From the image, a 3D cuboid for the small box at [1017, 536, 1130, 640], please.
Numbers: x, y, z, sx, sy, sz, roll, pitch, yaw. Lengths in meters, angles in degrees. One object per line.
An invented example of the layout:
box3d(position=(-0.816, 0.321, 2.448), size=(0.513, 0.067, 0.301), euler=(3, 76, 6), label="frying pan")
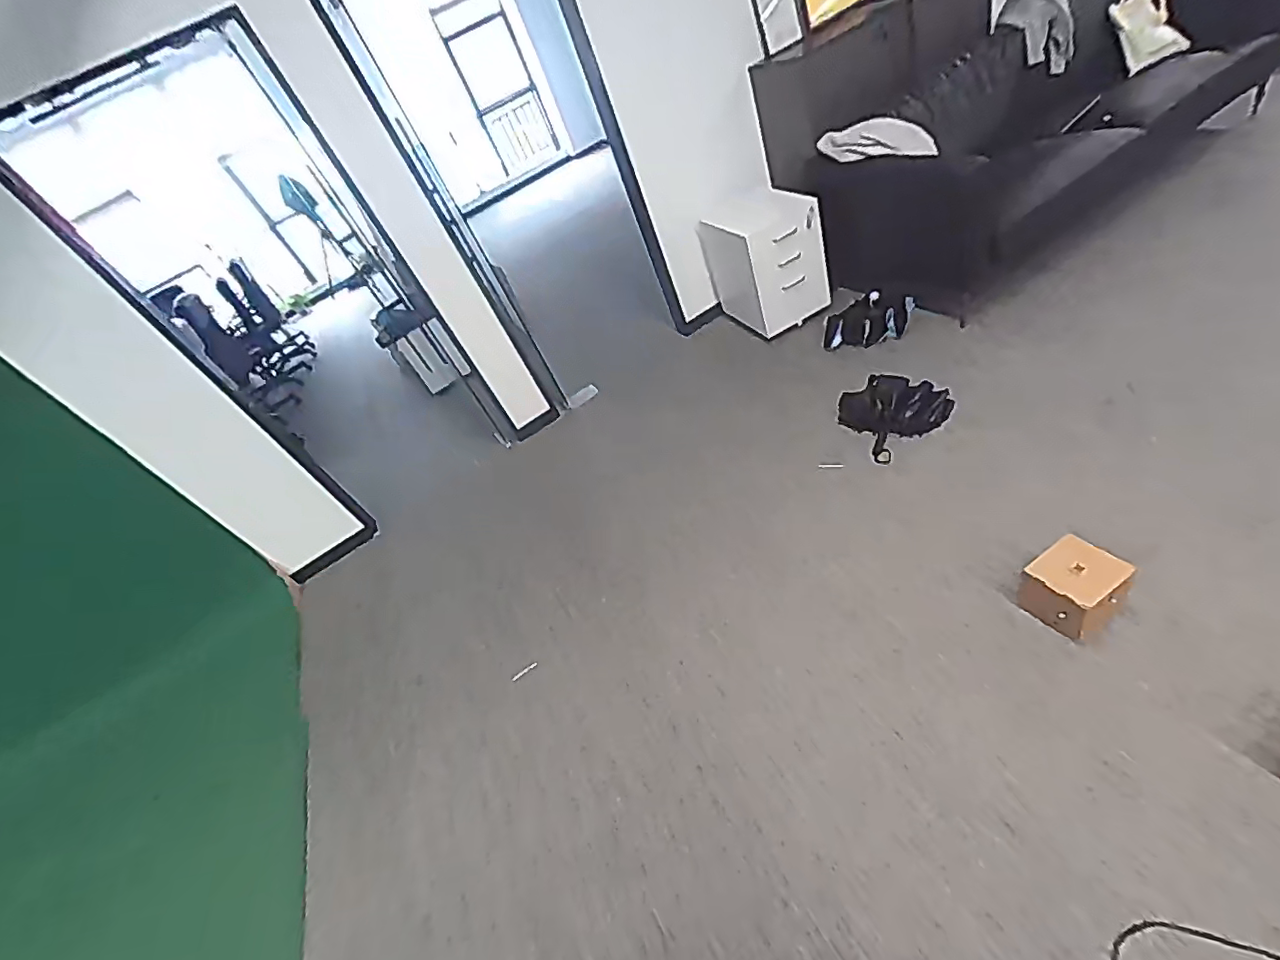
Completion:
box3d(position=(1.147, 0.291, 1.446), size=(0.179, 0.176, 0.168), euler=(-33, 40, -10), label="small box")
